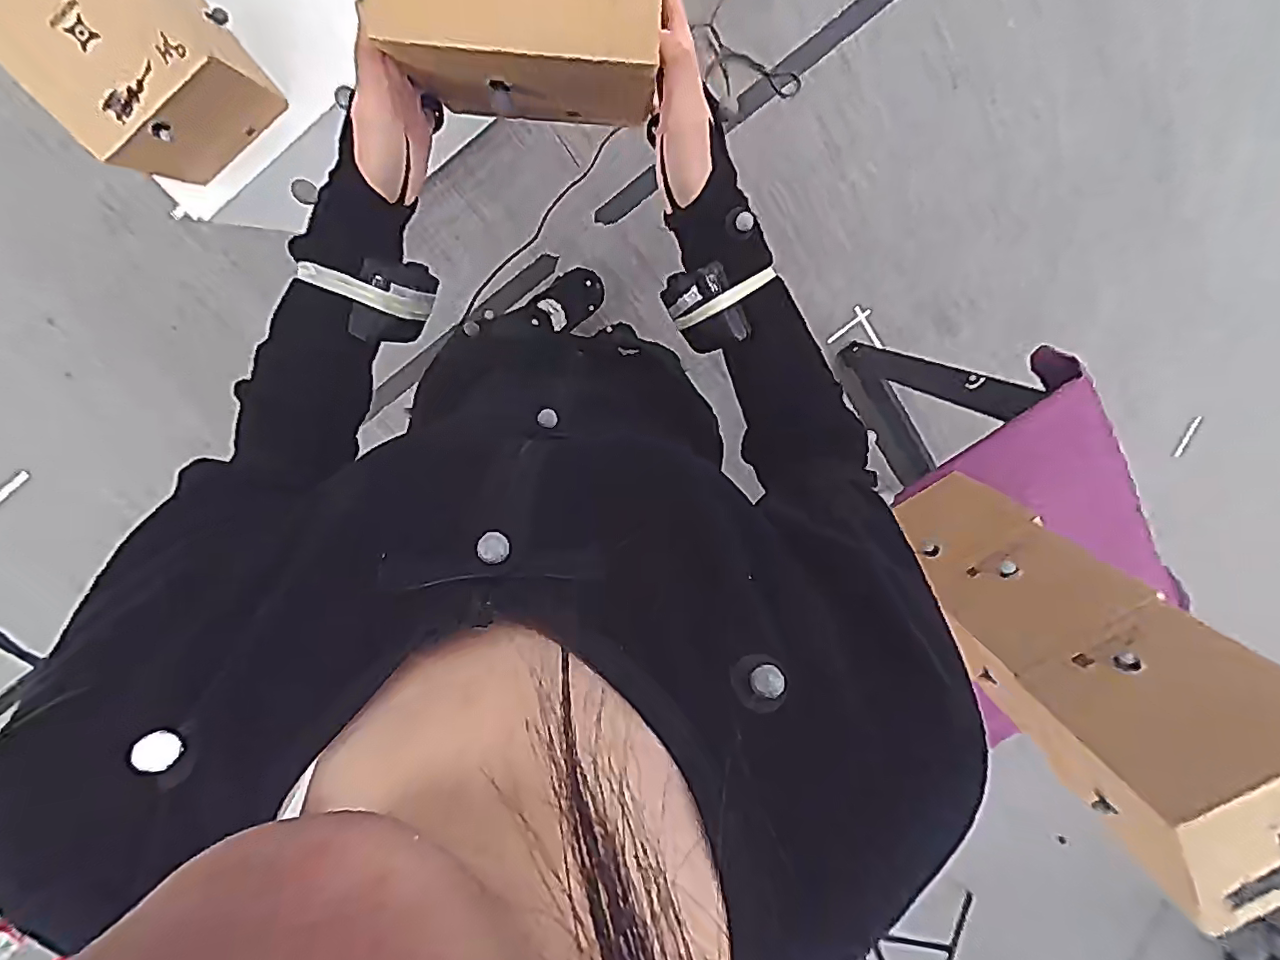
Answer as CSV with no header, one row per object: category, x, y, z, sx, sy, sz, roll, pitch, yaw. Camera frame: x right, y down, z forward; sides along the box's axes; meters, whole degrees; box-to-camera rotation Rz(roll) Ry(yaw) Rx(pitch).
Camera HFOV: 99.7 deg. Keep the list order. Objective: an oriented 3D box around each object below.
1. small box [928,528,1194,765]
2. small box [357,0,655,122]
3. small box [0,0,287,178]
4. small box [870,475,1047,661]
small box,0.491,0.190,0.652,0.168,0.176,0.179,-34,111,6
small box,-0.070,-0.351,0.345,0.168,0.176,0.179,2,111,-3
small box,-0.543,-0.466,0.587,0.168,0.176,0.179,-36,110,7
small box,0.469,0.122,0.800,0.179,0.176,0.168,-33,112,6
